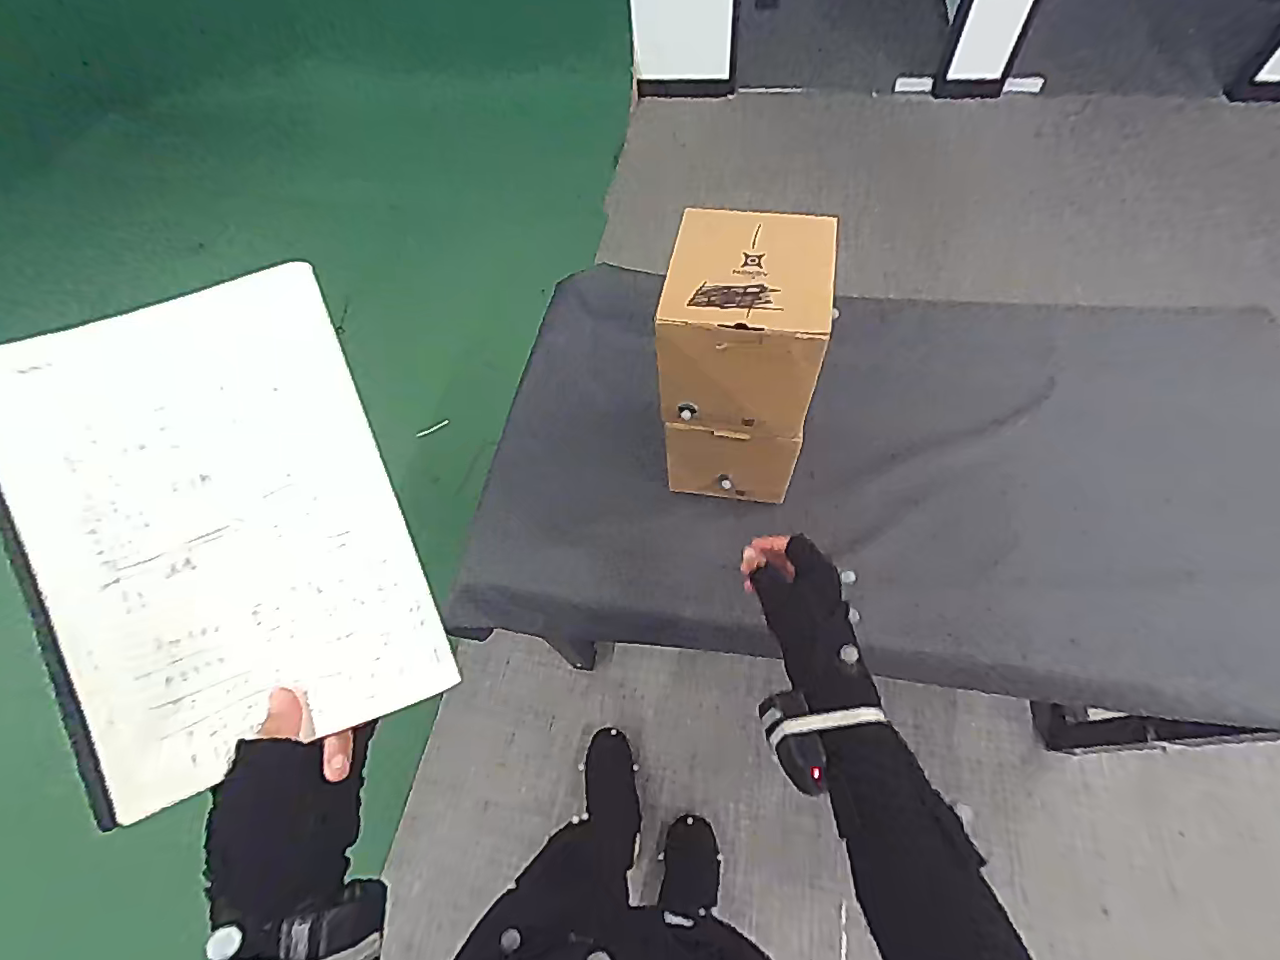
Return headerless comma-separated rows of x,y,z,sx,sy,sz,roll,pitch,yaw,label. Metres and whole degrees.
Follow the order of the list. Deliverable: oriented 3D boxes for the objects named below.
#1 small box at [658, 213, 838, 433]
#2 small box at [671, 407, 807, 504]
0.121,-0.173,0.618,0.168,0.176,0.179,8,60,10,small box
0.137,-0.089,0.757,0.168,0.176,0.179,6,61,10,small box
